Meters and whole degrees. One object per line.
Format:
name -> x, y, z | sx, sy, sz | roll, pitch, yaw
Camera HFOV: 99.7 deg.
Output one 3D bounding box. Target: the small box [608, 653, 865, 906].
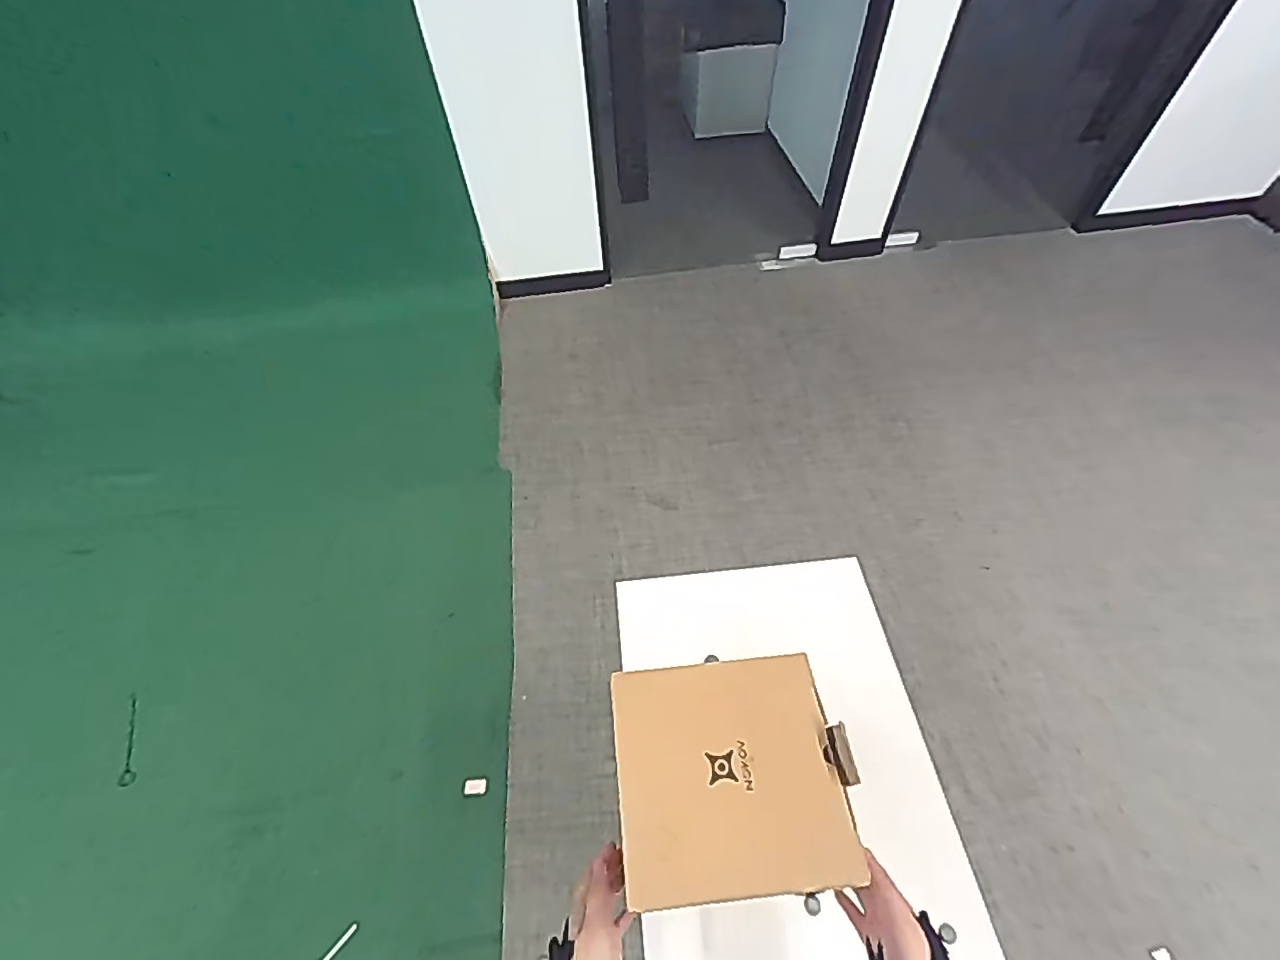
small box -> 0.069, 0.271, 0.487 | 0.179, 0.176, 0.168 | -5, 54, -3
